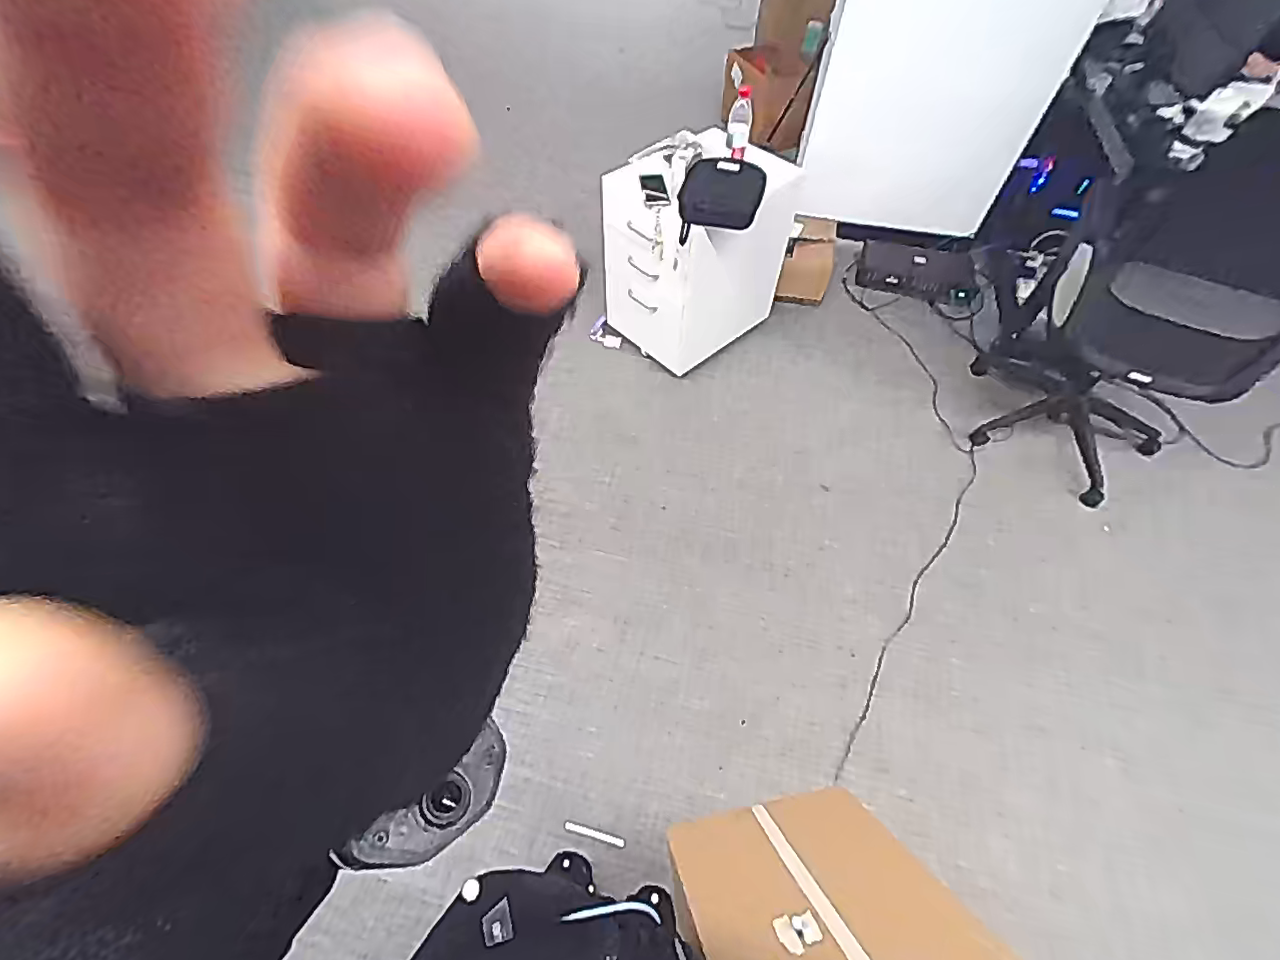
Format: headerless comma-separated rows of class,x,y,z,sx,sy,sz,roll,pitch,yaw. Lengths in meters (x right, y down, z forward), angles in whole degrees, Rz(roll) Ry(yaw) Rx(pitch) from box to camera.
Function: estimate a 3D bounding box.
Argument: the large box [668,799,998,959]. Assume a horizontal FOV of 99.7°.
large box,0.241,0.697,0.696,0.320,0.408,0.320,-9,88,-8
